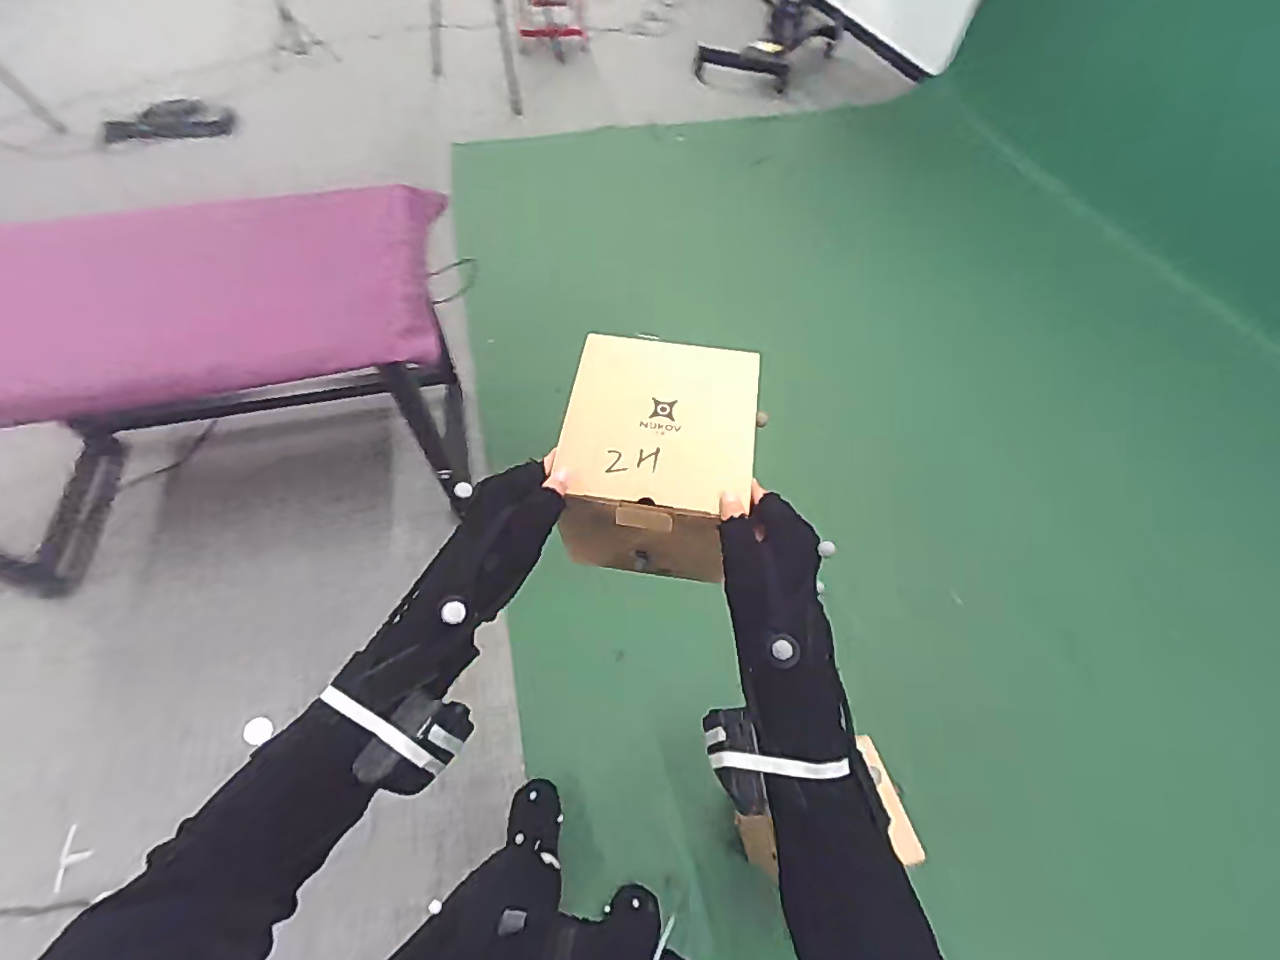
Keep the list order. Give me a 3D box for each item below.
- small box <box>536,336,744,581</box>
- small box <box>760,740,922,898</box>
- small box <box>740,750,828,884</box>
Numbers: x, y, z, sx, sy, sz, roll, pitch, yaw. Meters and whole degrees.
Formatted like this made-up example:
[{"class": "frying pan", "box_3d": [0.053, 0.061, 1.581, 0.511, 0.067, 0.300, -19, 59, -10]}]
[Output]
[{"class": "small box", "box_3d": [0.005, -0.016, 0.546, 0.168, 0.176, 0.179, 7, 62, 4]}, {"class": "small box", "box_3d": [0.318, 0.554, 0.894, 0.168, 0.176, 0.179, -12, 57, -9]}, {"class": "small box", "box_3d": [0.304, 0.642, 1.033, 0.168, 0.176, 0.179, -12, 57, -8]}]
